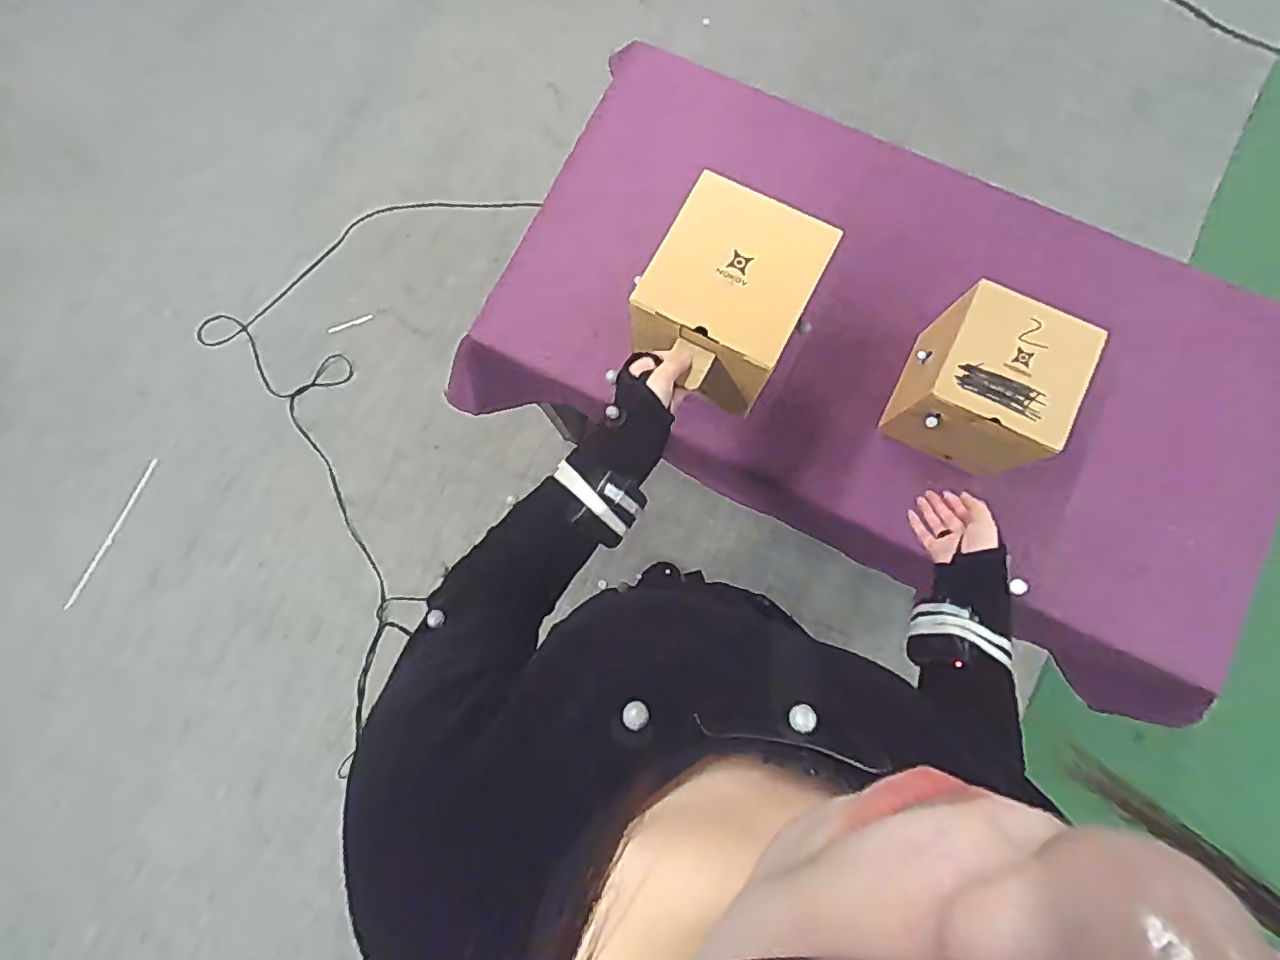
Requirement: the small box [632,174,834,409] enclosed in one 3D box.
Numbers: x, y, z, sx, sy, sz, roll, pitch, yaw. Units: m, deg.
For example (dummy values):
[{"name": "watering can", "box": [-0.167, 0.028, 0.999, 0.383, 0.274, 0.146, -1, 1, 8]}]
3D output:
[{"name": "small box", "box": [0.101, -0.214, 0.657, 0.168, 0.176, 0.179, 28, 82, 6]}]
